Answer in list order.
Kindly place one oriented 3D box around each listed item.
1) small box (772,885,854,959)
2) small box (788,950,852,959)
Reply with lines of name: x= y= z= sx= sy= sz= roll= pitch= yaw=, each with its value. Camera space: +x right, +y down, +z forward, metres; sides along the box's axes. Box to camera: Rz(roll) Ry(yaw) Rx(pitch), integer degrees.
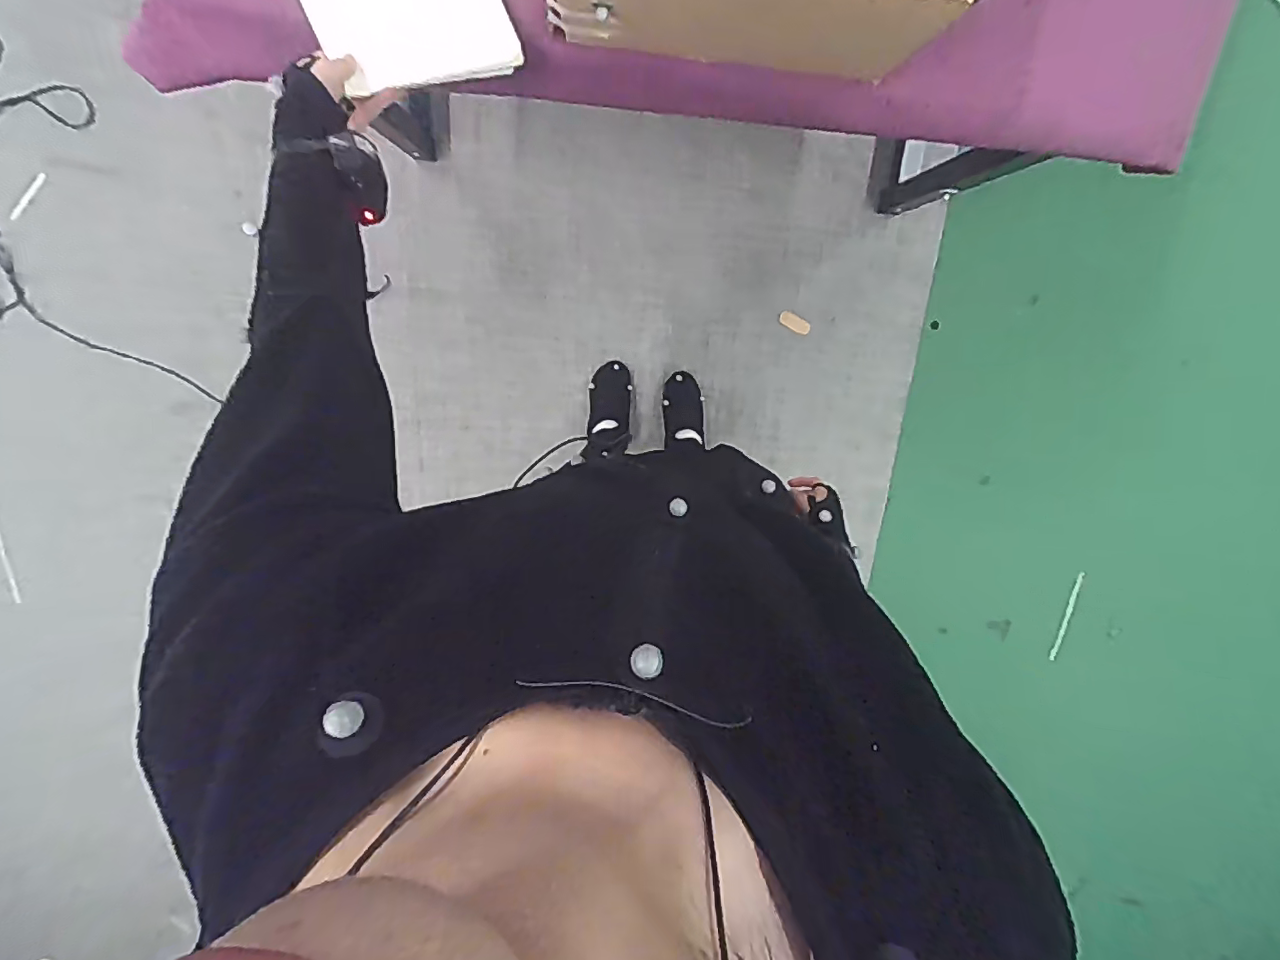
small box: x=0.477 y=1.267 z=1.502 sx=0.179 sy=0.176 sz=0.168 roll=-7 pitch=105 yaw=1
small box: x=0.471 y=1.317 z=1.346 sx=0.168 sy=0.176 sz=0.179 roll=-5 pitch=106 yaw=0
